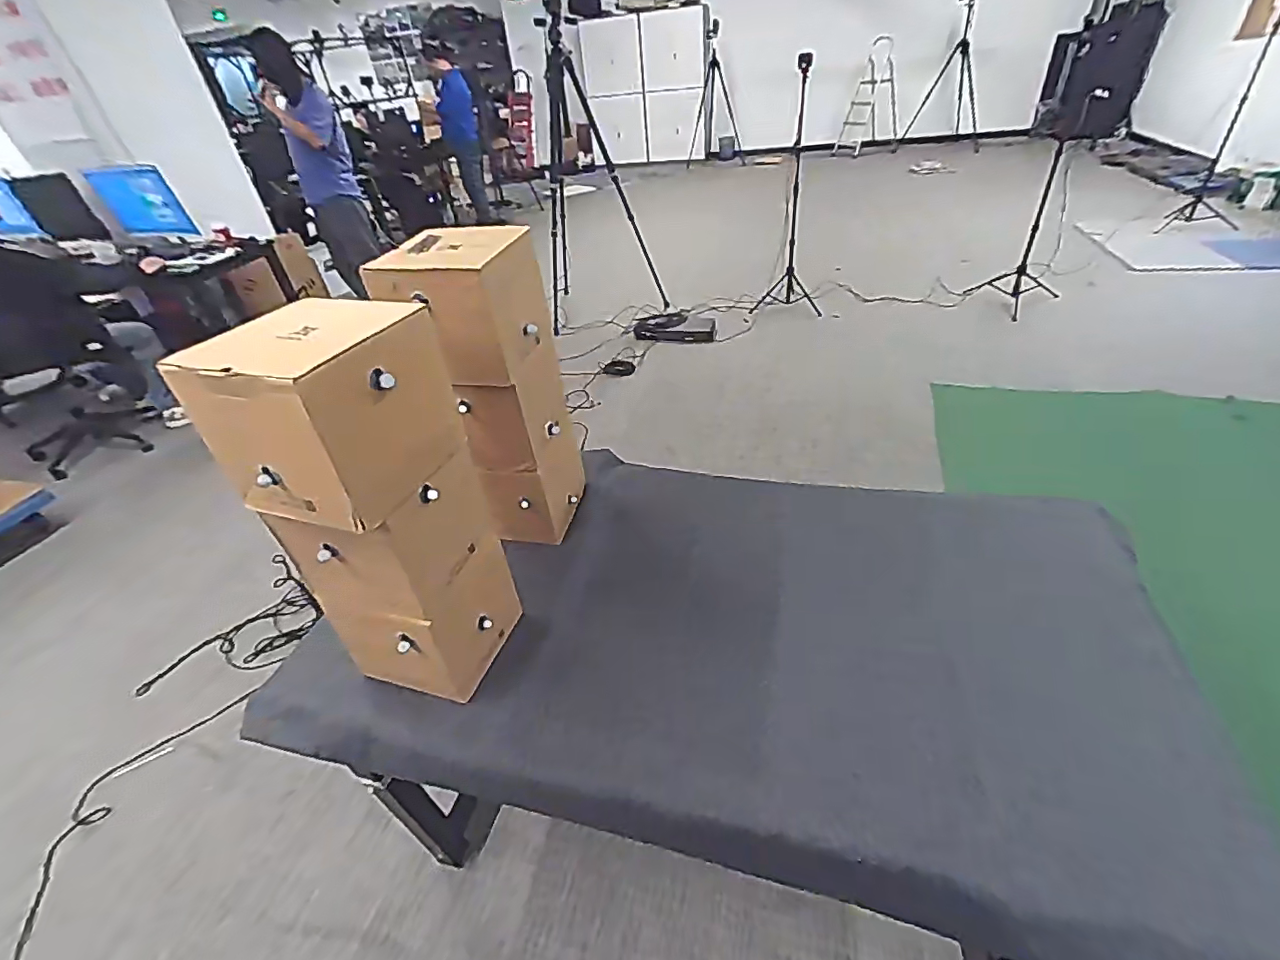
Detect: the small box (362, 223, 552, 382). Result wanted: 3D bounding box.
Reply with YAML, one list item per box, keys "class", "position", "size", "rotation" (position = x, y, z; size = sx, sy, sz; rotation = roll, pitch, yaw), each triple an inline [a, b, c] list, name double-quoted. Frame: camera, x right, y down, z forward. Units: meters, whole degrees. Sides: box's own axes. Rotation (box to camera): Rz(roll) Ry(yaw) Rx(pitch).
- class: "small box"
  position: [-0.247, -0.254, 0.776]
  size: [0.179, 0.176, 0.168]
  rotation: [6, 42, 14]

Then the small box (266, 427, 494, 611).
- class: "small box"
  position: [-0.312, 0.043, 0.674]
  size: [0.179, 0.176, 0.168]
  rotation: [5, 38, 15]

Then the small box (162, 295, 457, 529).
- class: "small box"
  position: [-0.313, -0.077, 0.562]
  size: [0.168, 0.176, 0.179]
  rotation: [9, 40, 17]

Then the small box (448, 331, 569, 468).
- class: "small box"
  position: [-0.233, -0.134, 0.888]
  size: [0.179, 0.176, 0.168]
  rotation: [4, 42, 12]

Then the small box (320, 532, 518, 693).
- class: "small box"
  position: [-0.296, 0.175, 0.768]
  size: [0.179, 0.176, 0.168]
  rotation: [8, 38, 17]
